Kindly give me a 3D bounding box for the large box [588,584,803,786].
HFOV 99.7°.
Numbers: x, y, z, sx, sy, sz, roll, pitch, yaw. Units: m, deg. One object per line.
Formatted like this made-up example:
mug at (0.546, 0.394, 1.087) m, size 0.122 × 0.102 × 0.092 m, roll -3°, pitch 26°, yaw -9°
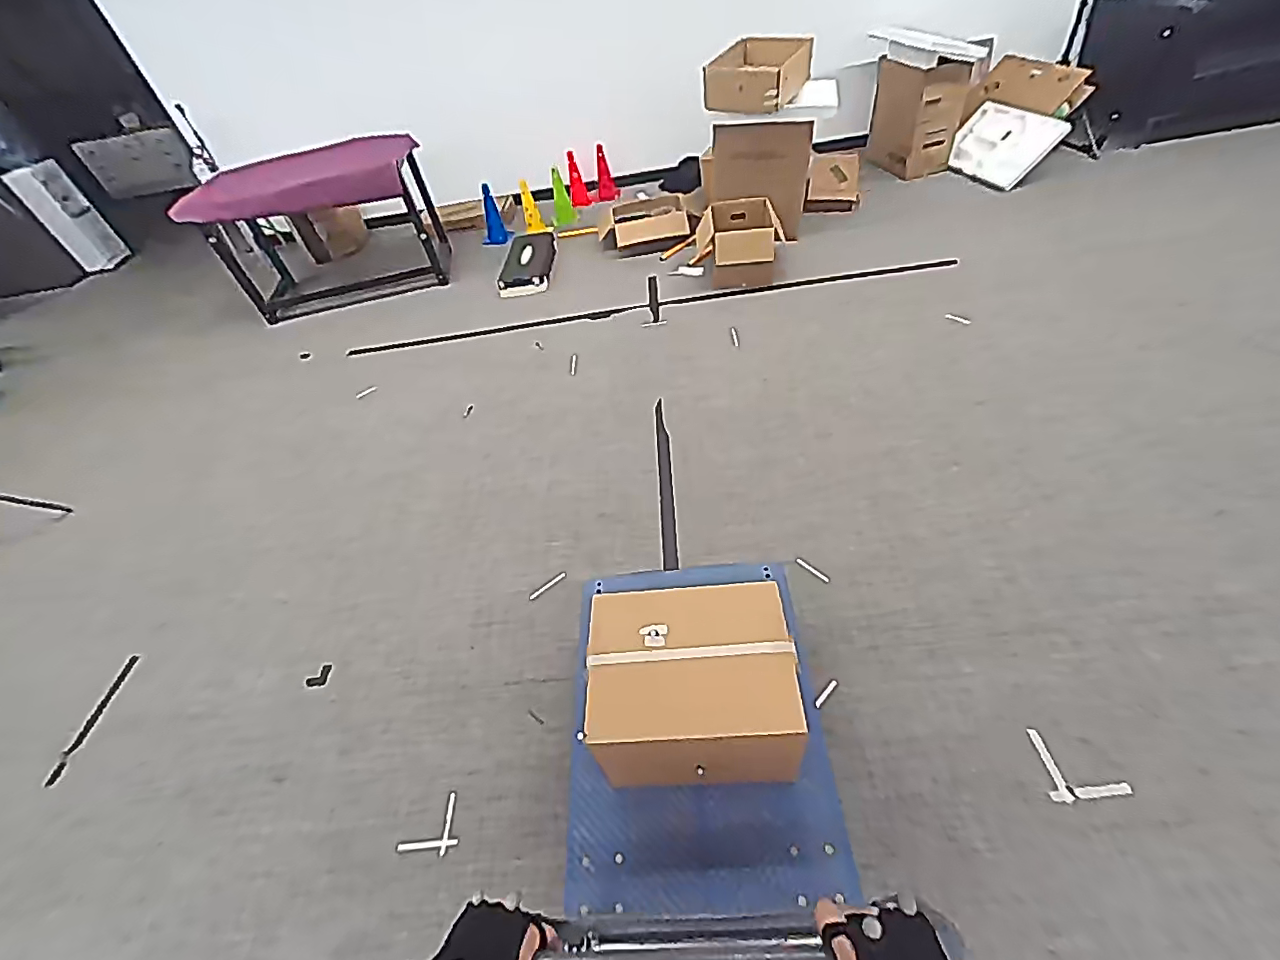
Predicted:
large box at (0.120, 0.461, 1.199) m, size 0.408 × 0.320 × 0.320 m, roll -7°, pitch 46°, yaw 6°
